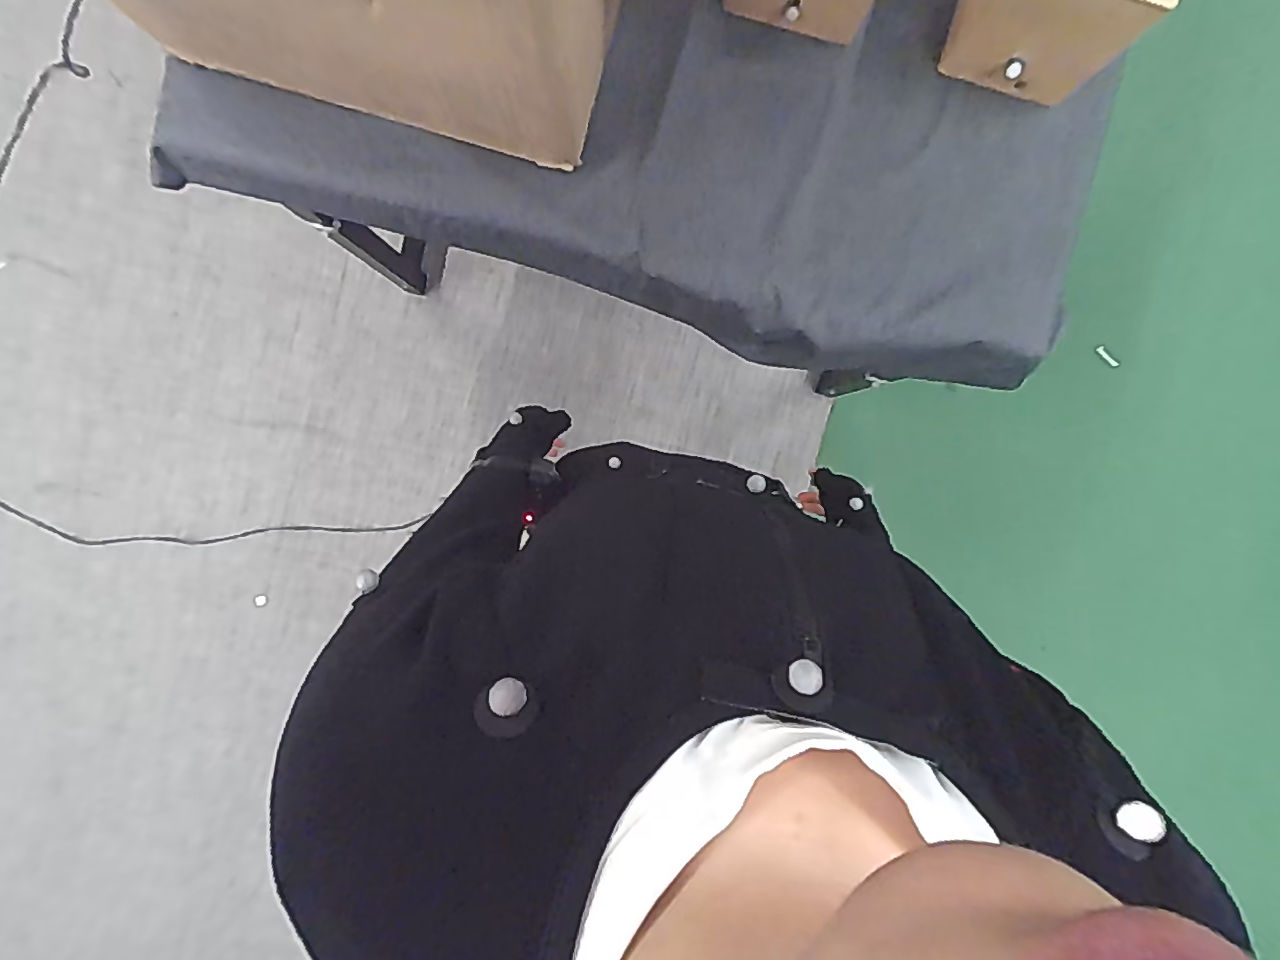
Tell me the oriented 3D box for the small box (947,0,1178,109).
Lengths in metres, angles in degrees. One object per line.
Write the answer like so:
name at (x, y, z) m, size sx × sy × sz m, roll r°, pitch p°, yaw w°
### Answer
small box at (0.502, -0.596, 0.639) m, size 0.168 × 0.176 × 0.179 m, roll 17°, pitch 94°, yaw -2°
